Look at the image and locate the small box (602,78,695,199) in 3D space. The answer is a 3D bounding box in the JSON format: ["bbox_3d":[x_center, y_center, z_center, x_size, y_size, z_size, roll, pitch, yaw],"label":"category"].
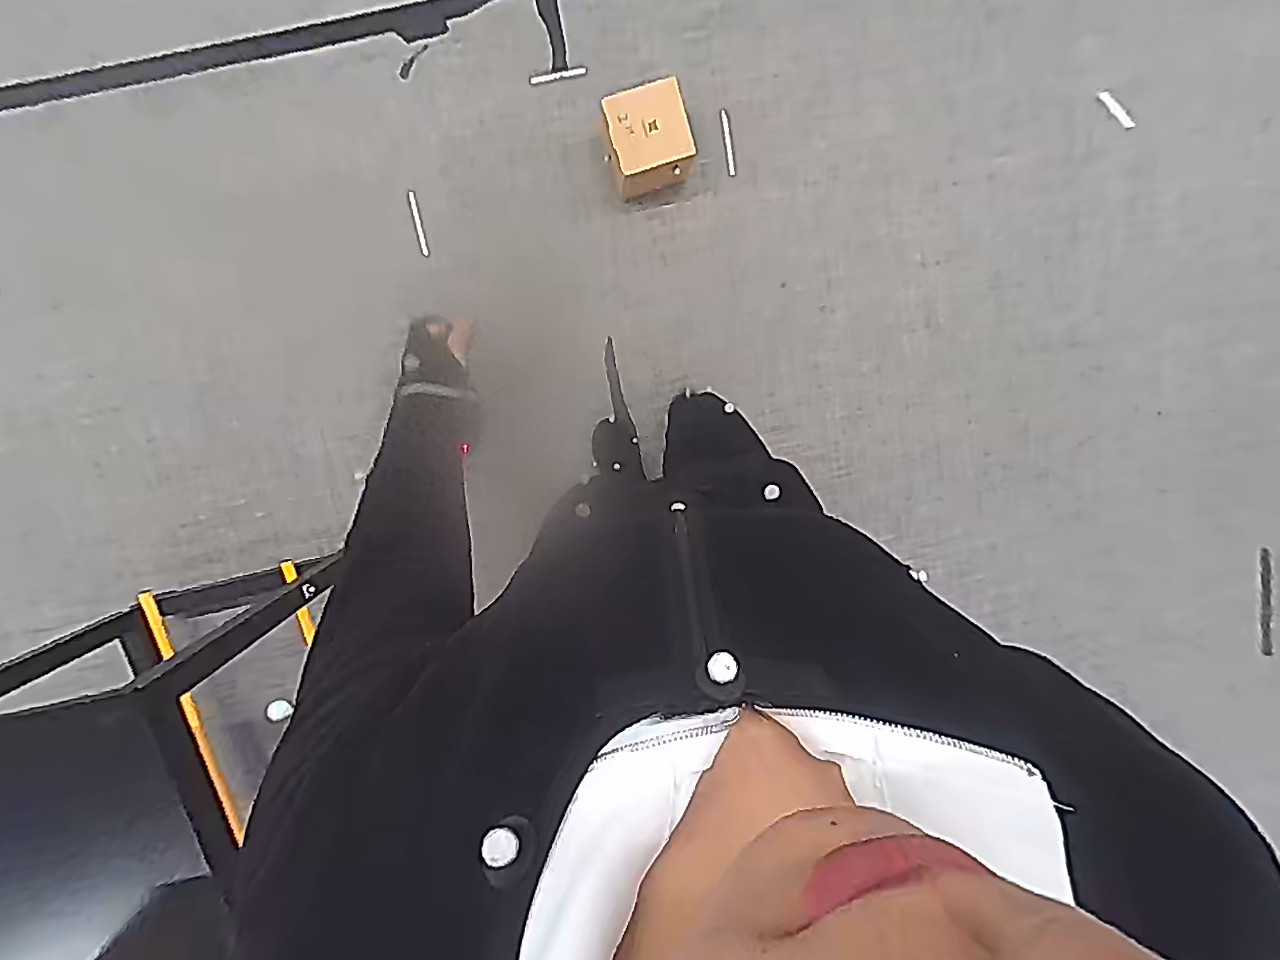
[{"bbox_3d":[0.014,-0.792,1.272,0.179,0.176,0.168,-18,101,0],"label":"small box"}]
